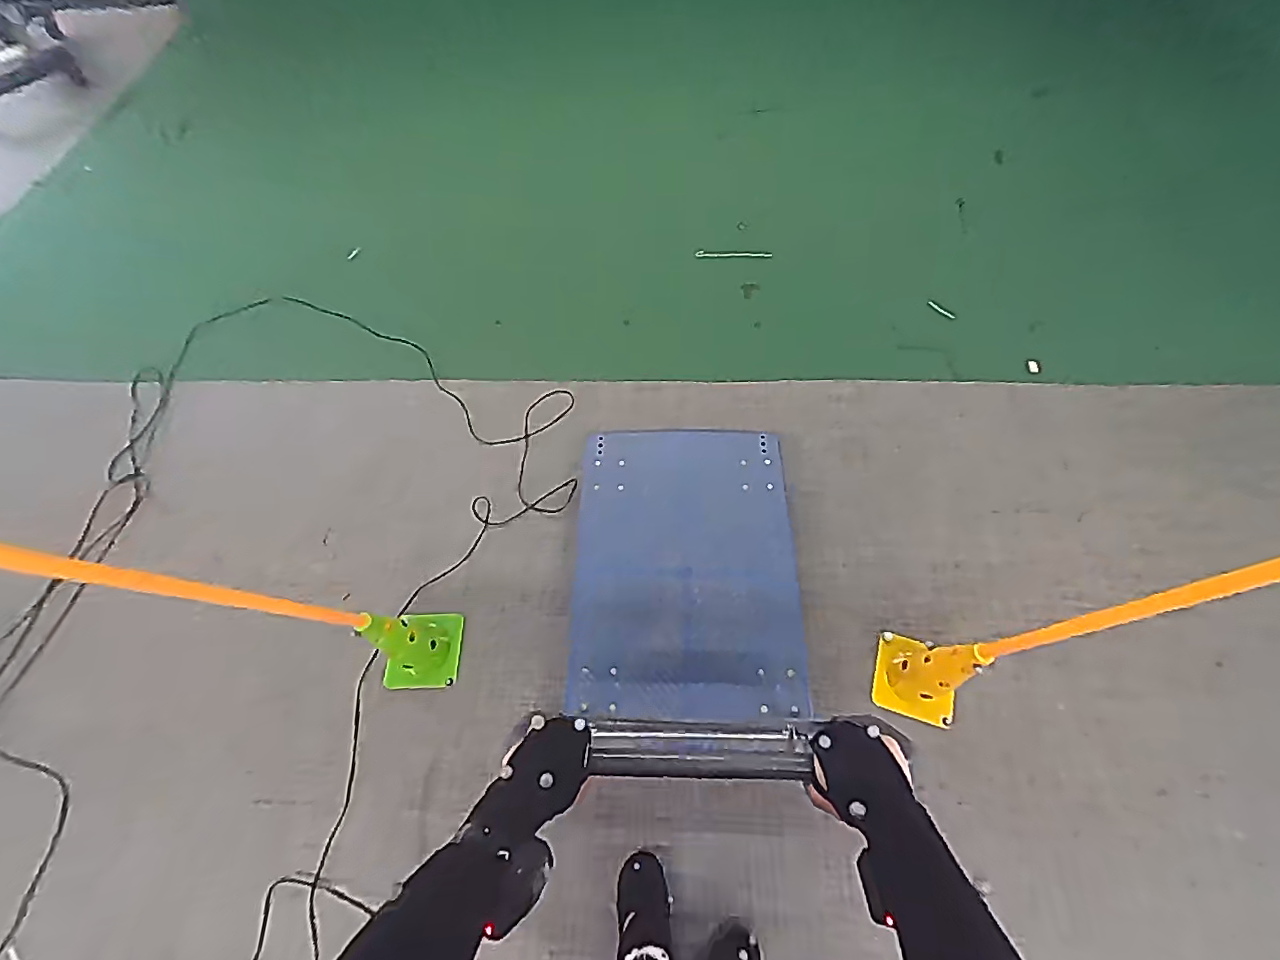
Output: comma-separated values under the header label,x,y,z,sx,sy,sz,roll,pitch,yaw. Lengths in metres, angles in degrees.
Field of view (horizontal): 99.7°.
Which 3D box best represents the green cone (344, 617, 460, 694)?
label,x,y,z,sx,sy,sz,roll,pitch,yaw
green cone,-0.616,0.403,1.348,0.202,0.368,0.200,-3,61,3
